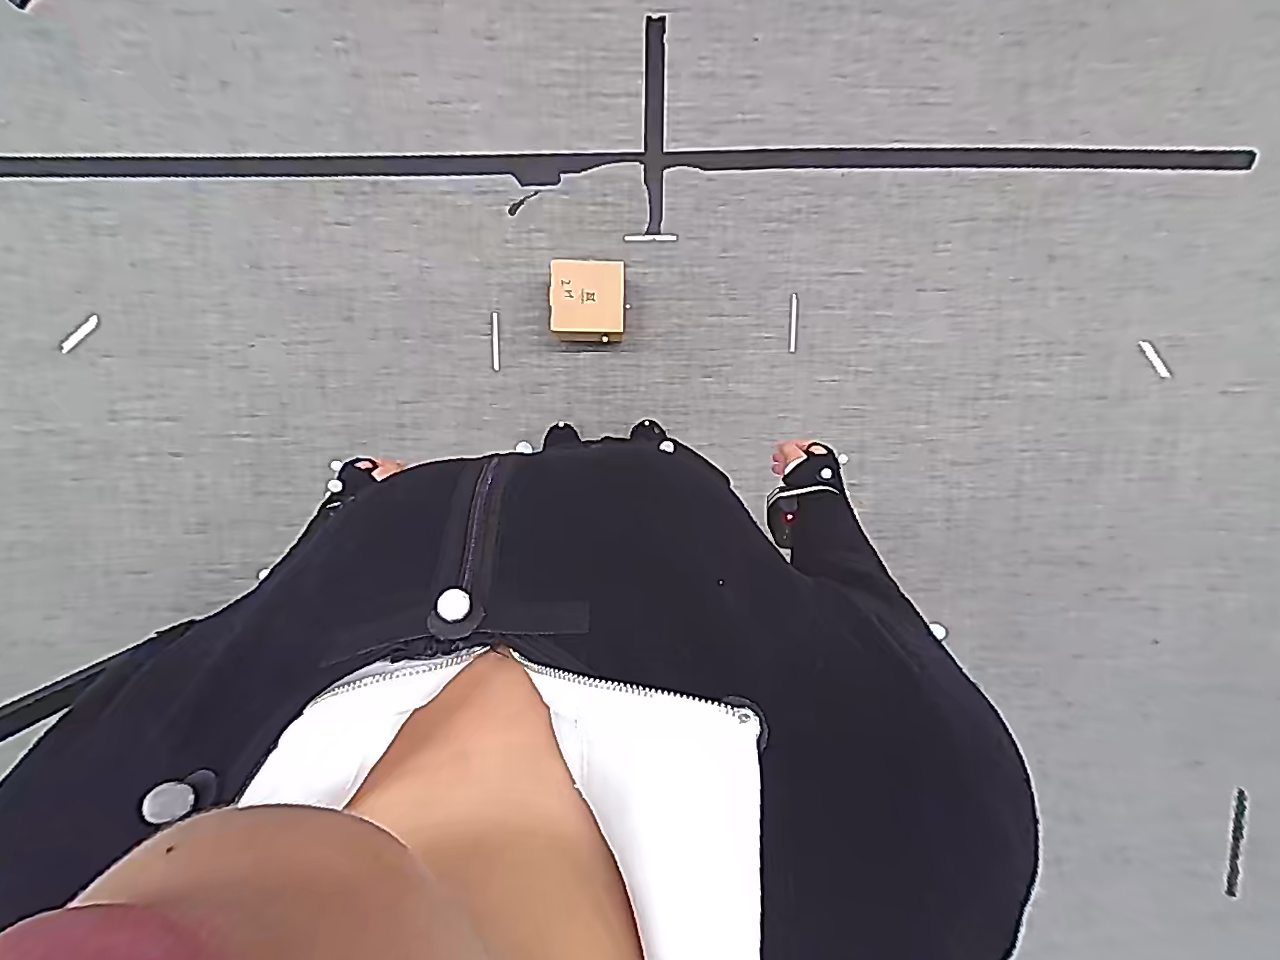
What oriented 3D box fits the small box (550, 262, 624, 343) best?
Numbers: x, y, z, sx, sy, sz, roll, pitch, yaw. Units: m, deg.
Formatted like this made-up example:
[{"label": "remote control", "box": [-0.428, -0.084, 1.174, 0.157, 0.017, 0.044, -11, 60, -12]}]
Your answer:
[{"label": "small box", "box": [-0.129, -0.443, 1.367, 0.179, 0.176, 0.168, 1, 96, -1]}]
